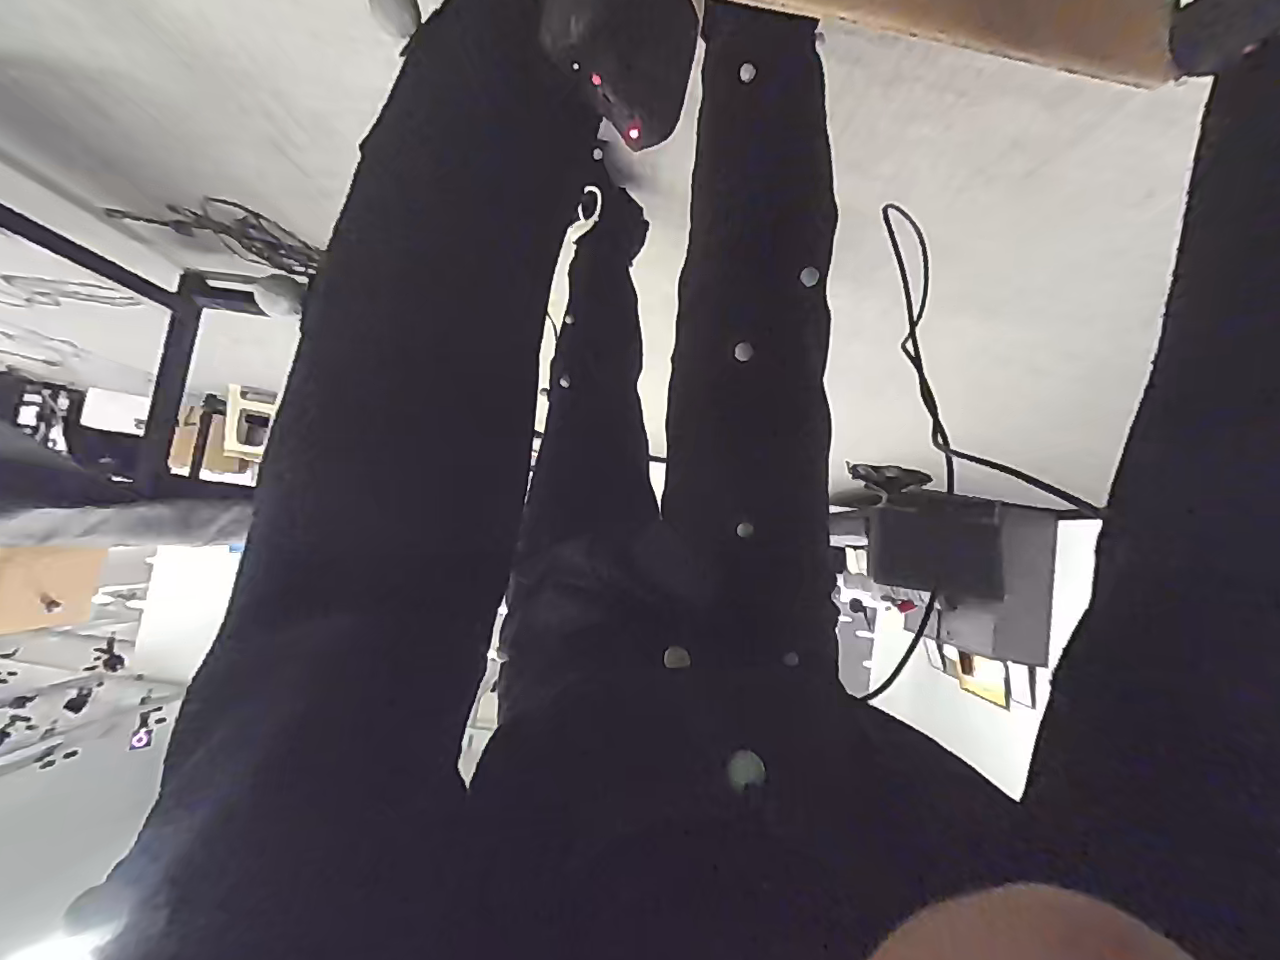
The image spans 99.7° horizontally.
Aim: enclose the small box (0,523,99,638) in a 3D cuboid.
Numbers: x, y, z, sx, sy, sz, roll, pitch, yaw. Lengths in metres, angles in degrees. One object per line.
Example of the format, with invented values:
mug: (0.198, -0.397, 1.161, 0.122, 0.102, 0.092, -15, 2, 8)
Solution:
small box: (-1.082, 0.162, 0.907, 0.168, 0.176, 0.179, 8, 175, 2)
